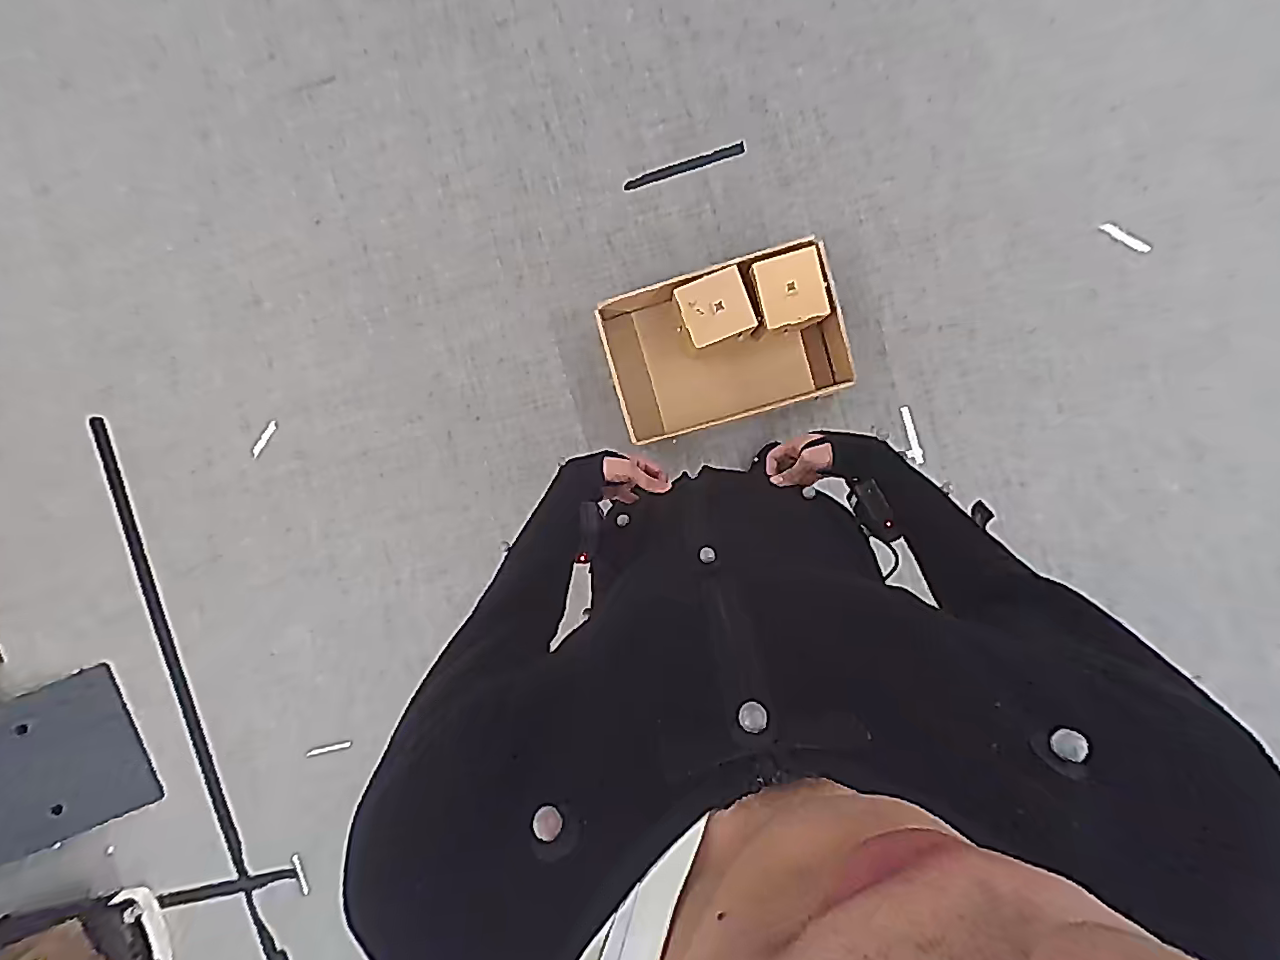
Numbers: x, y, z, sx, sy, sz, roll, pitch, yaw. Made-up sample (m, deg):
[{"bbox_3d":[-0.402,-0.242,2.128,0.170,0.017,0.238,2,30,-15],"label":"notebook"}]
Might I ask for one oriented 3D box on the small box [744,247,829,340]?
[{"bbox_3d":[0.387,-0.494,1.456,0.168,0.176,0.179,-15,96,5],"label":"small box"}]
